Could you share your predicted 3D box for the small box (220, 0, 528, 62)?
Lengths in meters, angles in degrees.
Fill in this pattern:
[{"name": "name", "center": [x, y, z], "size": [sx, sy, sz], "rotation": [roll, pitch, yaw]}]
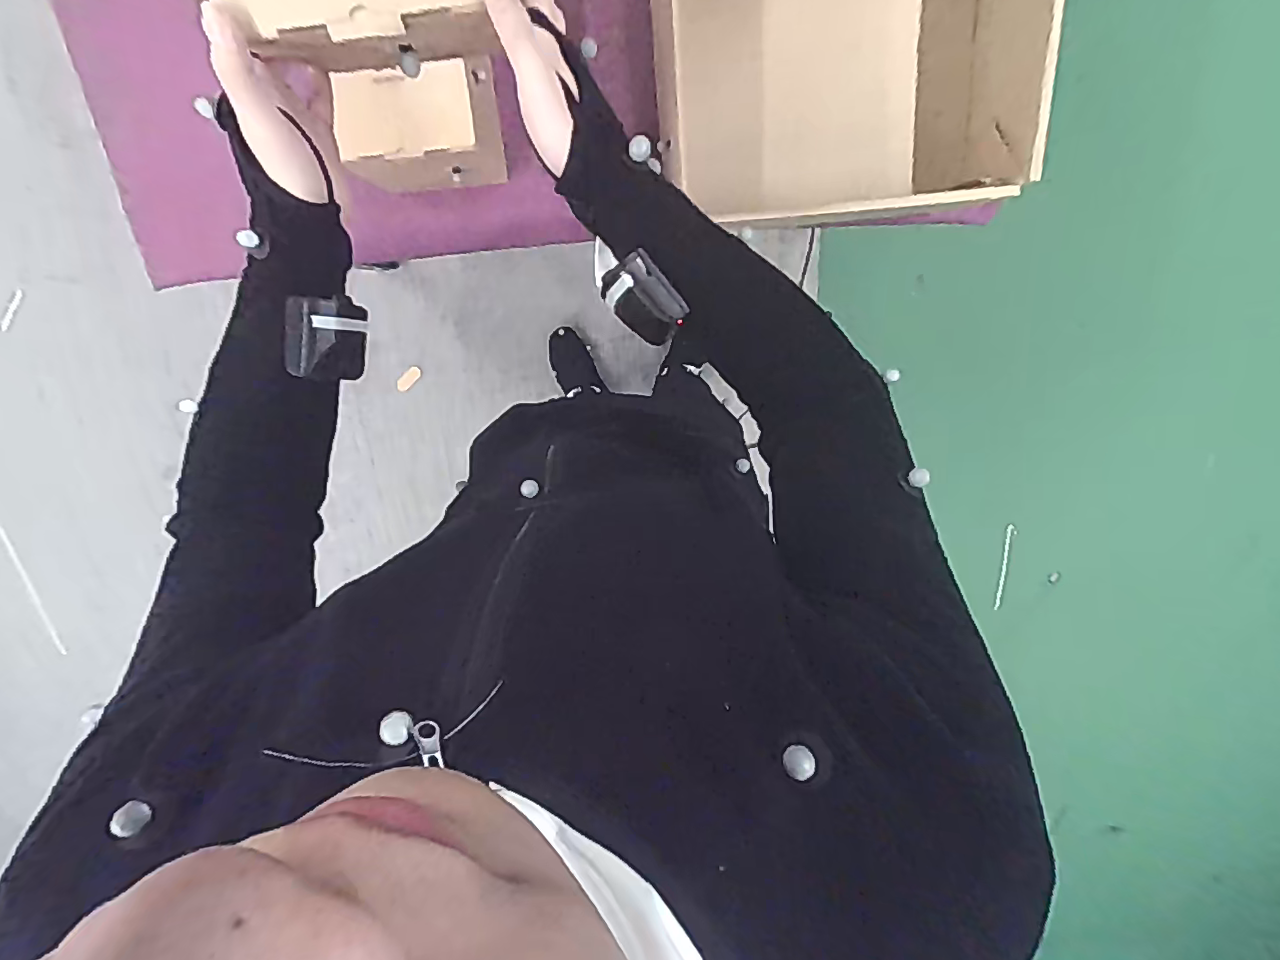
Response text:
[{"name": "small box", "center": [-0.172, -0.381, 0.338], "size": [0.168, 0.176, 0.179], "rotation": [-8, 123, -1]}]
